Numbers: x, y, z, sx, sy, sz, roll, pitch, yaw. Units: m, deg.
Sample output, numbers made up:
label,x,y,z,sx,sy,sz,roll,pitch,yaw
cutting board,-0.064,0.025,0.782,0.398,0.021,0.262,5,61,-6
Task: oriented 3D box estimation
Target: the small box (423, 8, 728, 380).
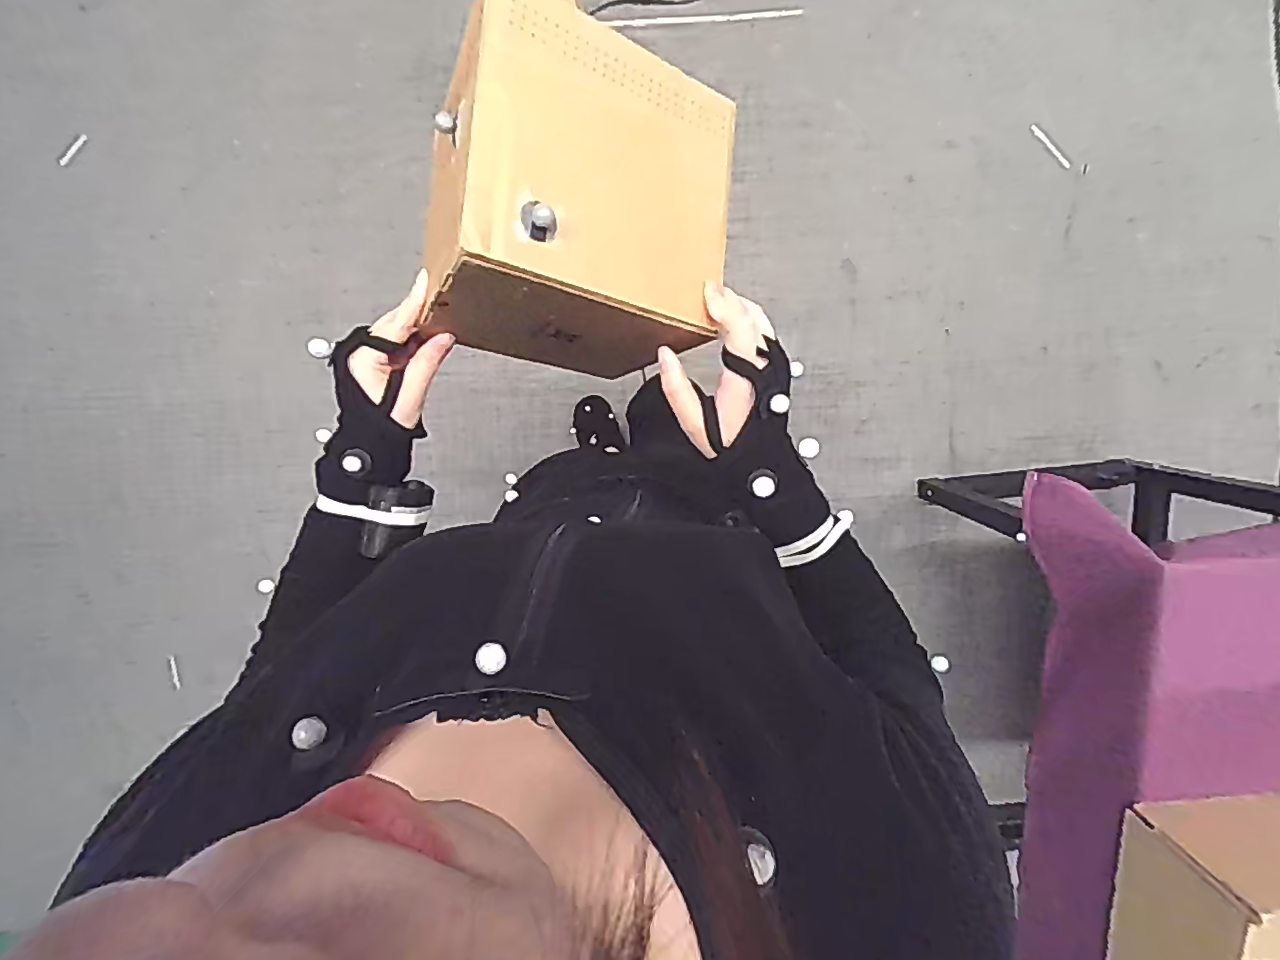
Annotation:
label,x,y,z,sx,sy,sz,roll,pitch,yaw
small box,-0.051,-0.189,0.411,0.179,0.168,0.176,10,84,-29
